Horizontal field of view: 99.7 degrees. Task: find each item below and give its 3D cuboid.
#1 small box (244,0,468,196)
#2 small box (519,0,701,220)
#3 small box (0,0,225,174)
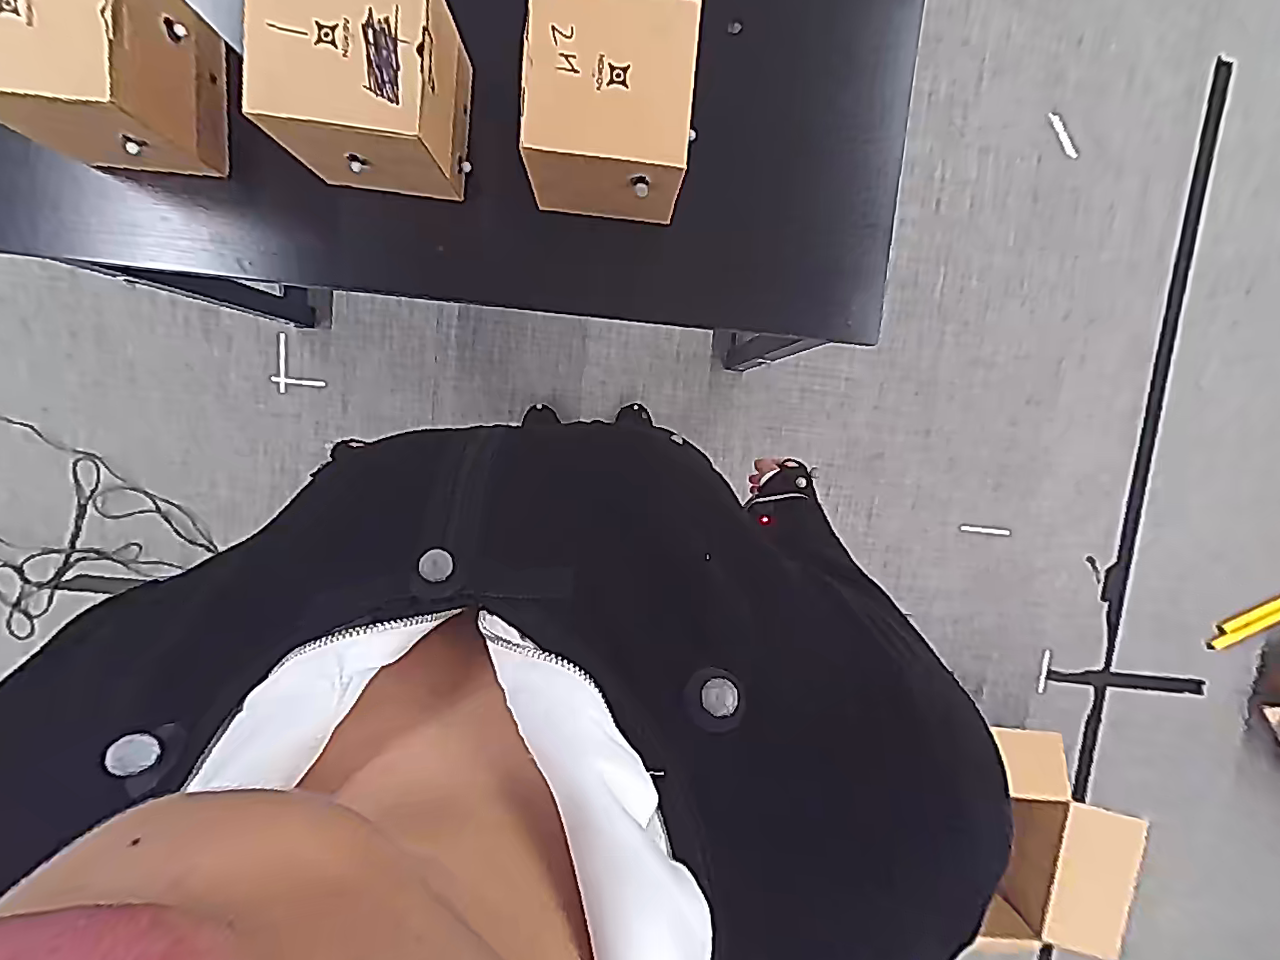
[{"bbox_3d":[-0.304,-0.446,0.615,0.179,0.176,0.168,6,96,-3],"label":"small box"},{"bbox_3d":[-0.036,-0.423,0.633,0.179,0.176,0.168,5,96,-3],"label":"small box"},{"bbox_3d":[-0.598,-0.462,0.596,0.179,0.176,0.168,2,96,-3],"label":"small box"}]
